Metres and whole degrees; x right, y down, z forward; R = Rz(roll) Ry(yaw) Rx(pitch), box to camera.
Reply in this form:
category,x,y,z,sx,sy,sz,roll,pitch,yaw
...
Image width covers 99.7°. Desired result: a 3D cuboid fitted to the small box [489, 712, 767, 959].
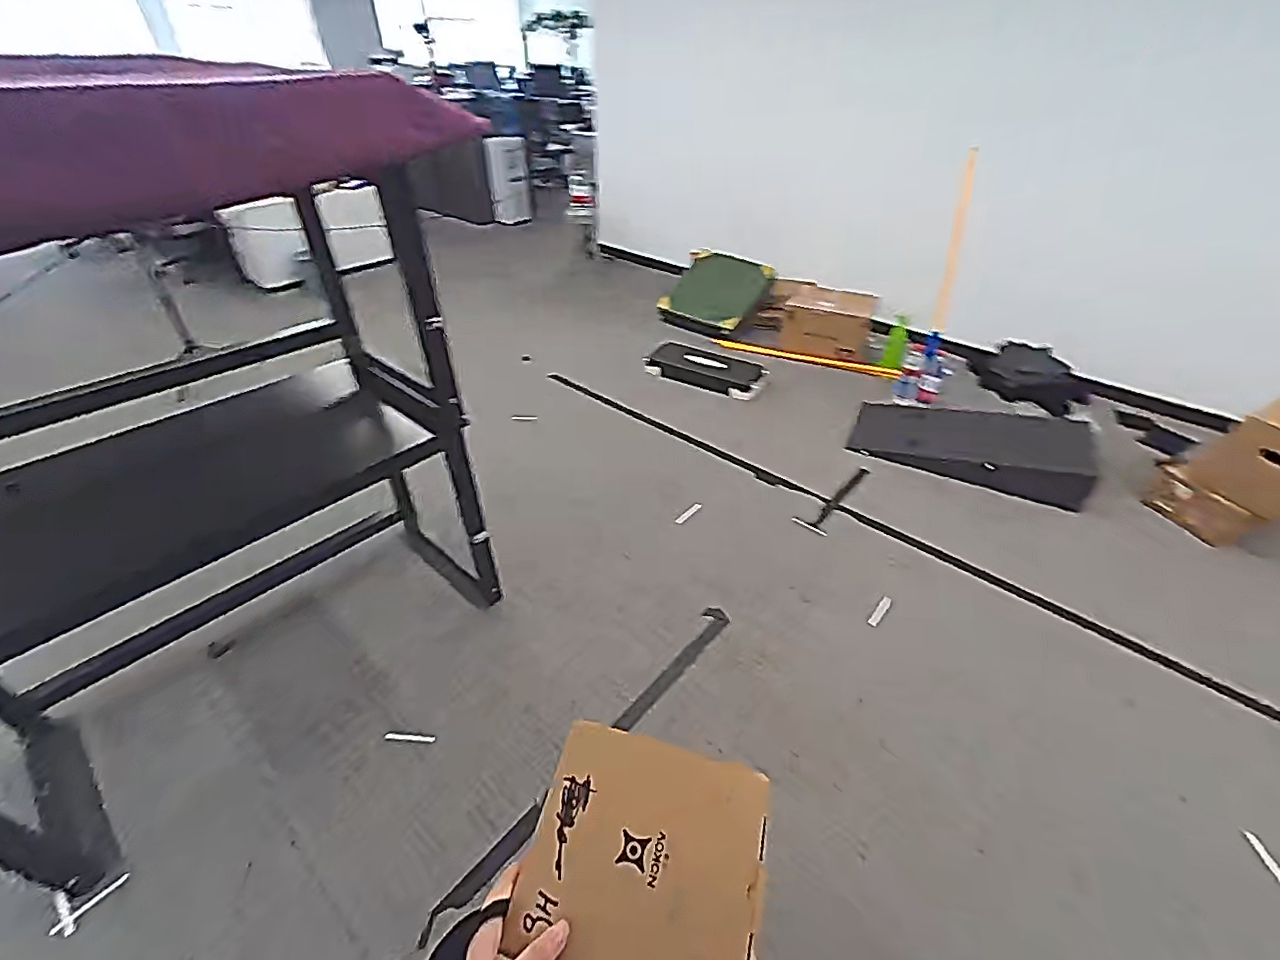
category,x,y,z,sx,sy,sz,roll,pitch,yaw
small box,-0.001,0.333,0.467,0.179,0.176,0.168,12,48,10
